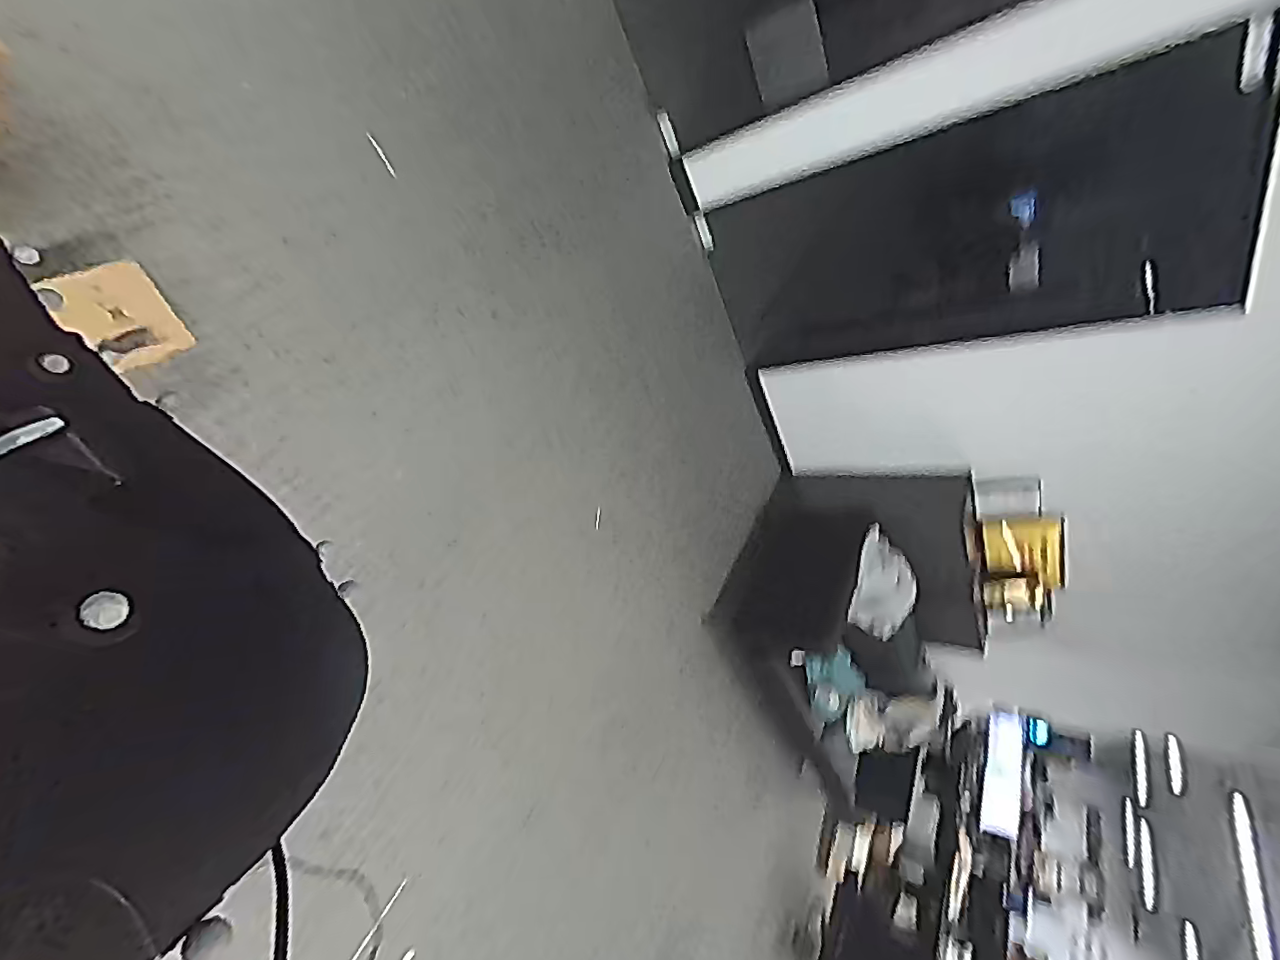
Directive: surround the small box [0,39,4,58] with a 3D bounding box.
[{"bbox_3d":[-1.068,-0.647,0.751,0.179,0.176,0.168,-52,128,-35],"label":"small box"}]
